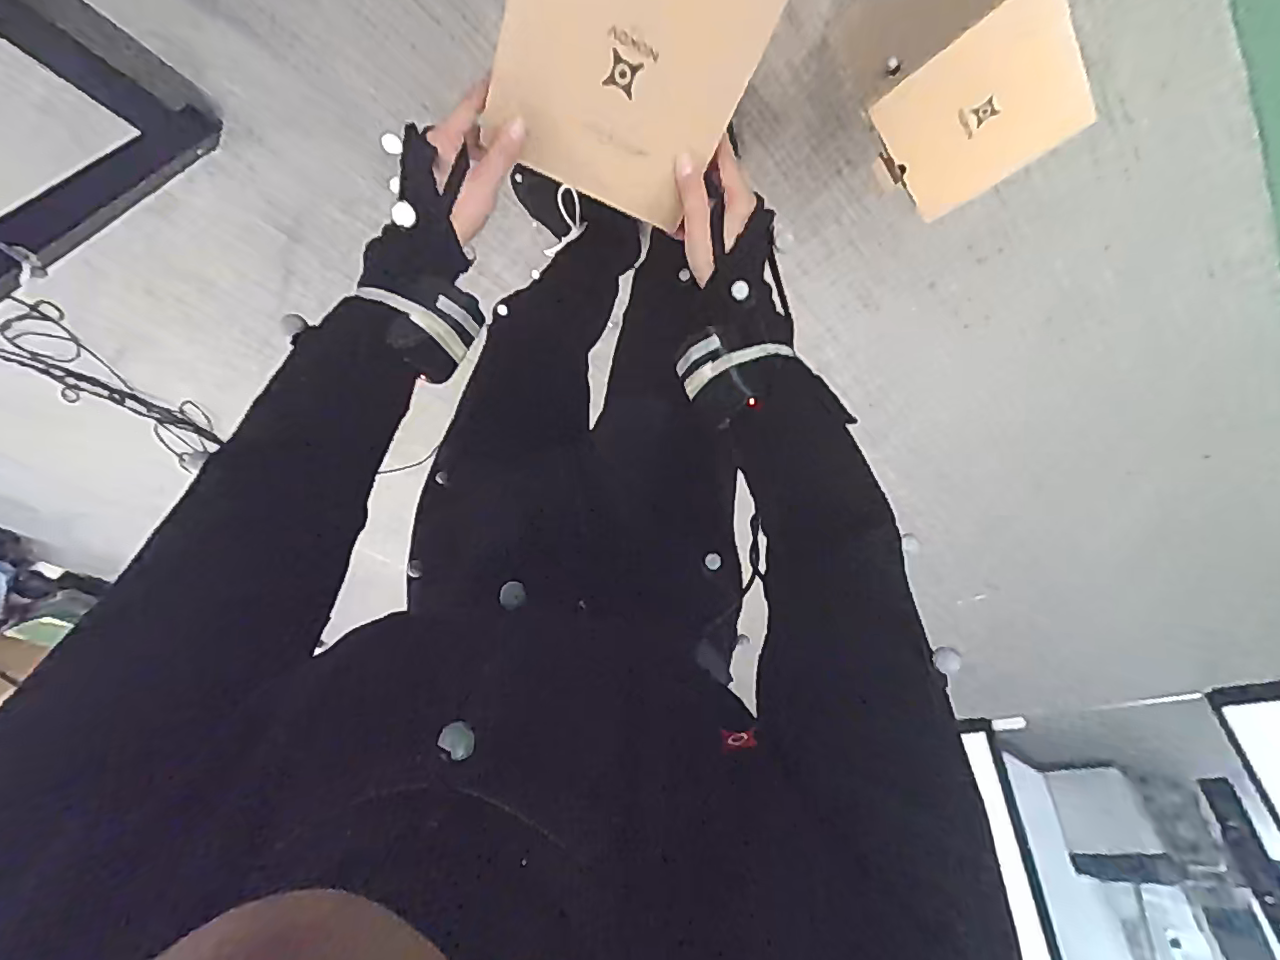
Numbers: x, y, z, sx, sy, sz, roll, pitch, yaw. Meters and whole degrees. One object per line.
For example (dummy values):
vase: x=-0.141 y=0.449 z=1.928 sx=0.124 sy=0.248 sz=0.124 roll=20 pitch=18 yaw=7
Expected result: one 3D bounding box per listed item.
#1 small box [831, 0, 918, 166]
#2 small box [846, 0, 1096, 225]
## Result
small box: x=0.368 y=-0.569 z=0.711 sx=0.179 sy=0.176 sz=0.168 roll=-28 pitch=131 yaw=37
small box: x=0.358 y=-0.441 z=0.608 sx=0.179 sy=0.176 sz=0.168 roll=-27 pitch=132 yaw=35
